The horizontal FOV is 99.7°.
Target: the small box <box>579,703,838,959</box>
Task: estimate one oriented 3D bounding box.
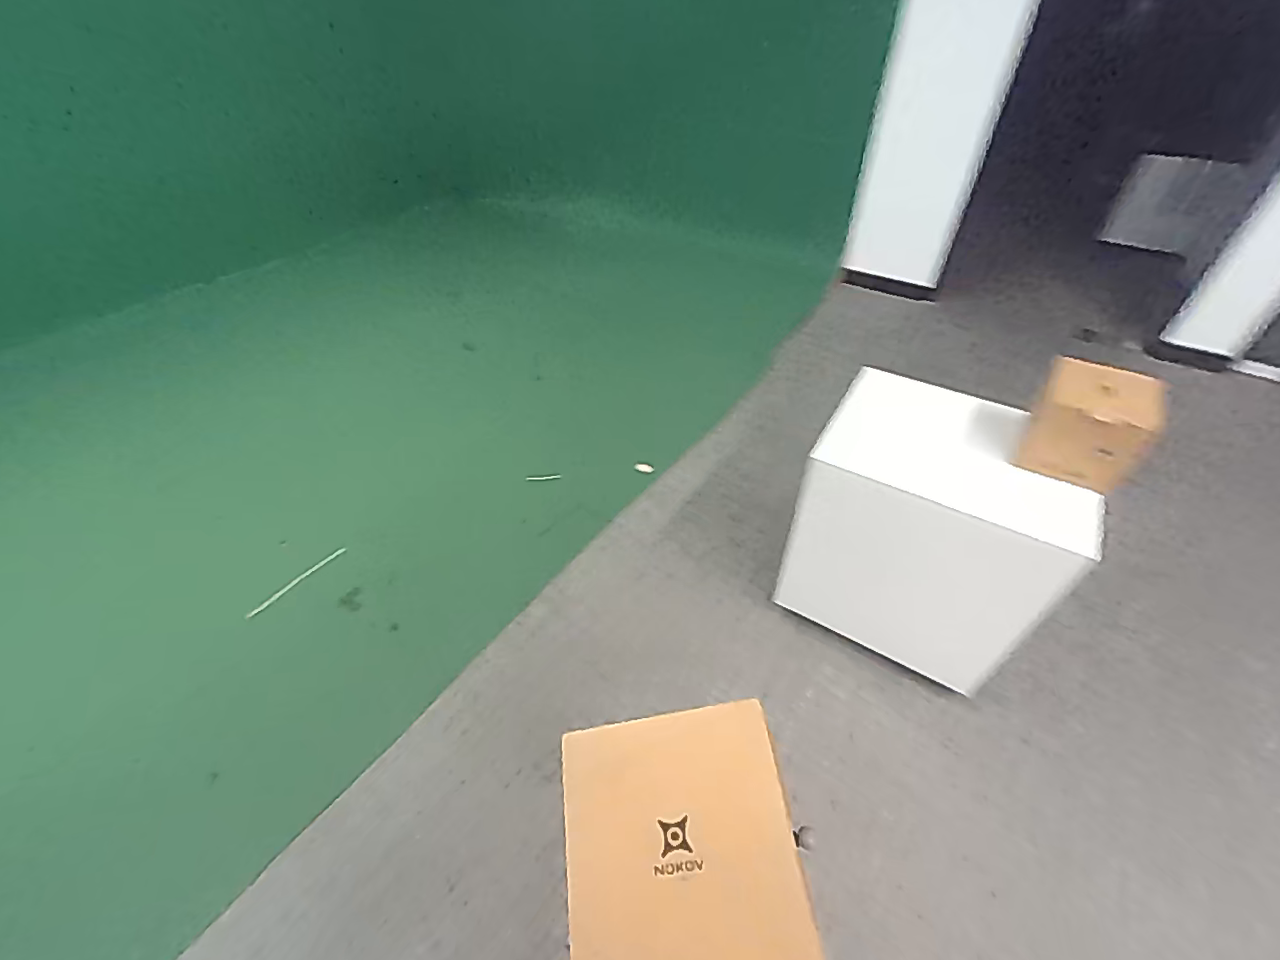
[{"bbox_3d":[0.055,0.304,0.448,0.168,0.176,0.179,-14,55,8],"label":"small box"}]

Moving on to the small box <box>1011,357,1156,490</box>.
[{"bbox_3d":[0.860,-0.109,1.059,0.168,0.176,0.179,24,50,24],"label":"small box"}]
